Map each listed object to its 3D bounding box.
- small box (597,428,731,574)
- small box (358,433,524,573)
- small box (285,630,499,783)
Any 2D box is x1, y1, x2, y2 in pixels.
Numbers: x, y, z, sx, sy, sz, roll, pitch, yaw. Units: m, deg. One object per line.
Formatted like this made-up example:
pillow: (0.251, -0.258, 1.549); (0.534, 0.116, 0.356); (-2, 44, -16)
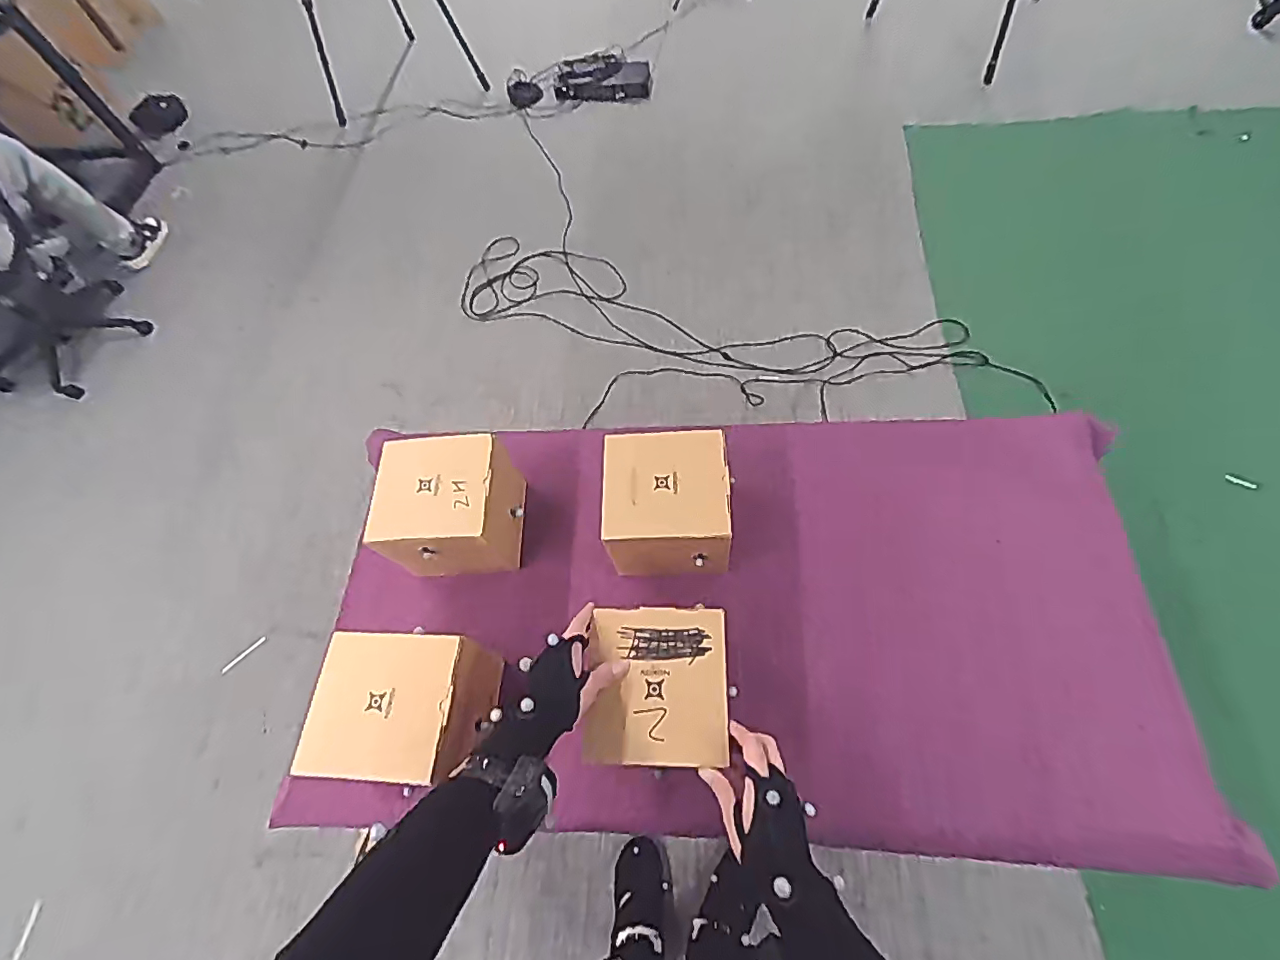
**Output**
small box: (0.040, 0.037, 0.808); (0.179, 0.176, 0.168); (-2, 63, 7)
small box: (-0.296, 0.043, 0.844); (0.179, 0.176, 0.168); (-3, 63, 5)
small box: (-0.308, 0.302, 0.714); (0.179, 0.176, 0.168); (0, 62, 6)
